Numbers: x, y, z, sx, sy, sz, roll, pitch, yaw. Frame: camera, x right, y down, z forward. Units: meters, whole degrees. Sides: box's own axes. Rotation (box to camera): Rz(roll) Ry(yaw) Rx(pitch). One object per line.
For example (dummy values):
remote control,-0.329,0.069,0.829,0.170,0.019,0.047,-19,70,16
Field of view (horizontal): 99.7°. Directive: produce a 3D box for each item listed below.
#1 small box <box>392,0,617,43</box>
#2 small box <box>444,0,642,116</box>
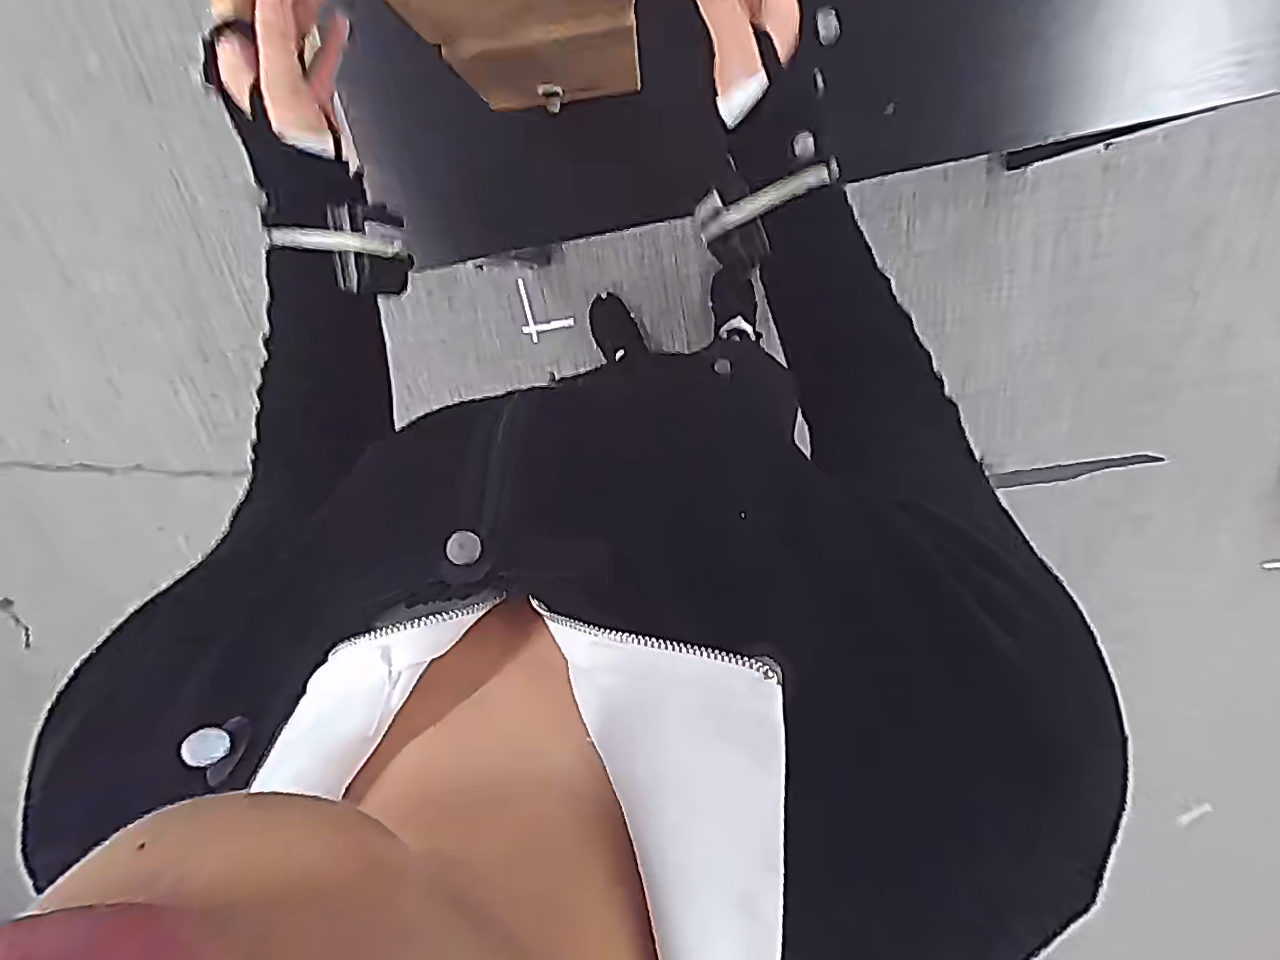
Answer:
small box,-0.099,-0.416,0.340,0.179,0.176,0.168,-6,109,5
small box,-0.089,-0.468,0.497,0.168,0.176,0.179,-6,111,5
